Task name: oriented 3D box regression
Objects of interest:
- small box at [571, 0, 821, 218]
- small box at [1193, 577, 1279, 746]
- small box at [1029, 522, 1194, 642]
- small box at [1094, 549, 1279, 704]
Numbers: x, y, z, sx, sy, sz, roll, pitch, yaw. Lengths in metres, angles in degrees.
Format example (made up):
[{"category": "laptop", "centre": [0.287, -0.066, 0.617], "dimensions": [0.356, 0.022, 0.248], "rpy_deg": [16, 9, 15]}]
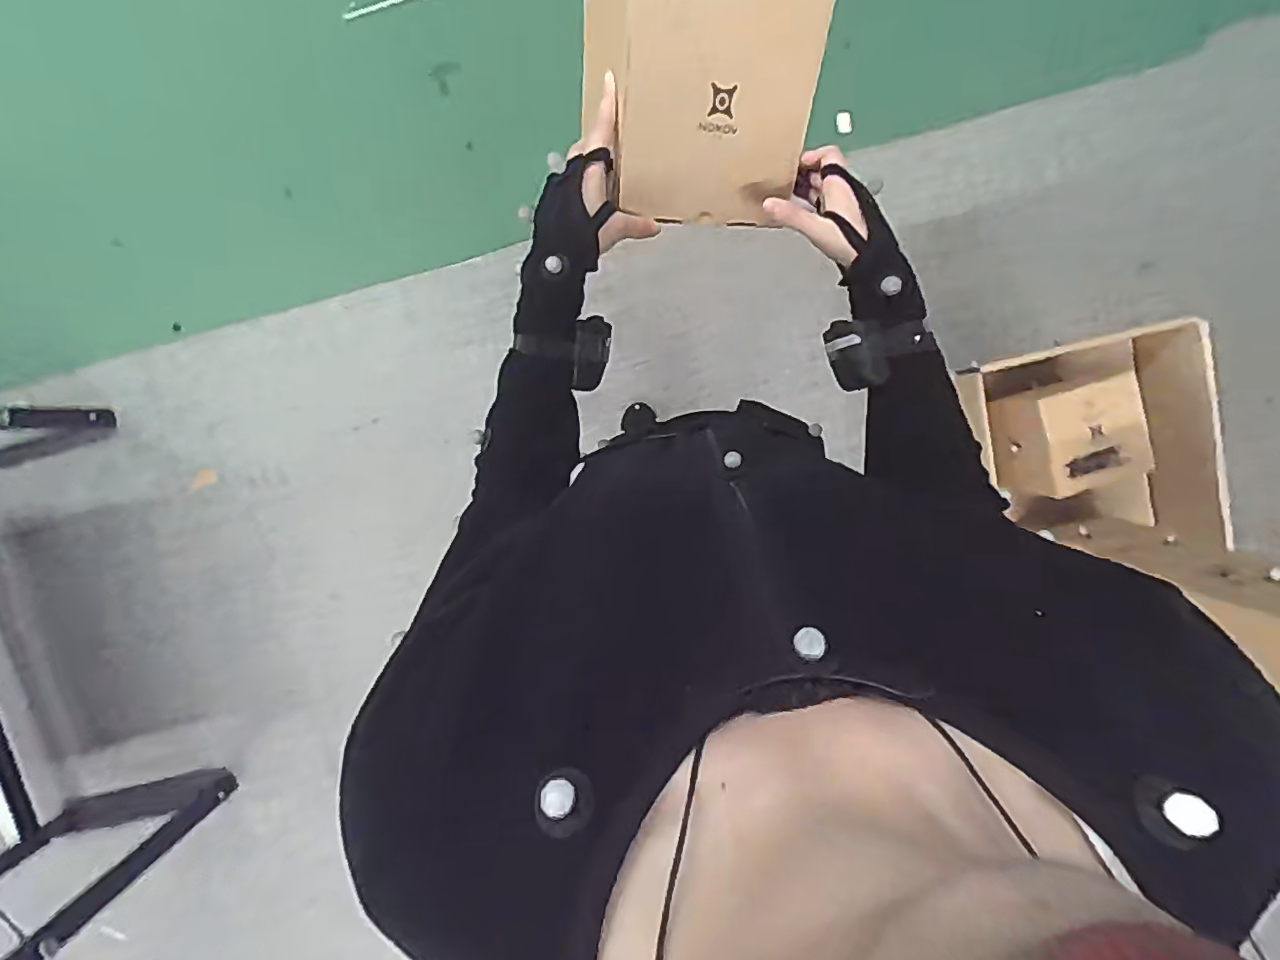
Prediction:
[{"category": "small box", "centre": [0.033, -0.350, 0.493], "dimensions": [0.168, 0.176, 0.179], "rpy_deg": [-5, 125, -16]}, {"category": "small box", "centre": [0.847, 0.232, 0.666], "dimensions": [0.168, 0.176, 0.179], "rpy_deg": [-10, 95, 3]}, {"category": "small box", "centre": [0.848, 0.178, 0.990], "dimensions": [0.179, 0.176, 0.168], "rpy_deg": [-8, 96, 3]}, {"category": "small box", "centre": [0.843, 0.210, 0.828], "dimensions": [0.168, 0.176, 0.179], "rpy_deg": [-9, 96, 3]}]
